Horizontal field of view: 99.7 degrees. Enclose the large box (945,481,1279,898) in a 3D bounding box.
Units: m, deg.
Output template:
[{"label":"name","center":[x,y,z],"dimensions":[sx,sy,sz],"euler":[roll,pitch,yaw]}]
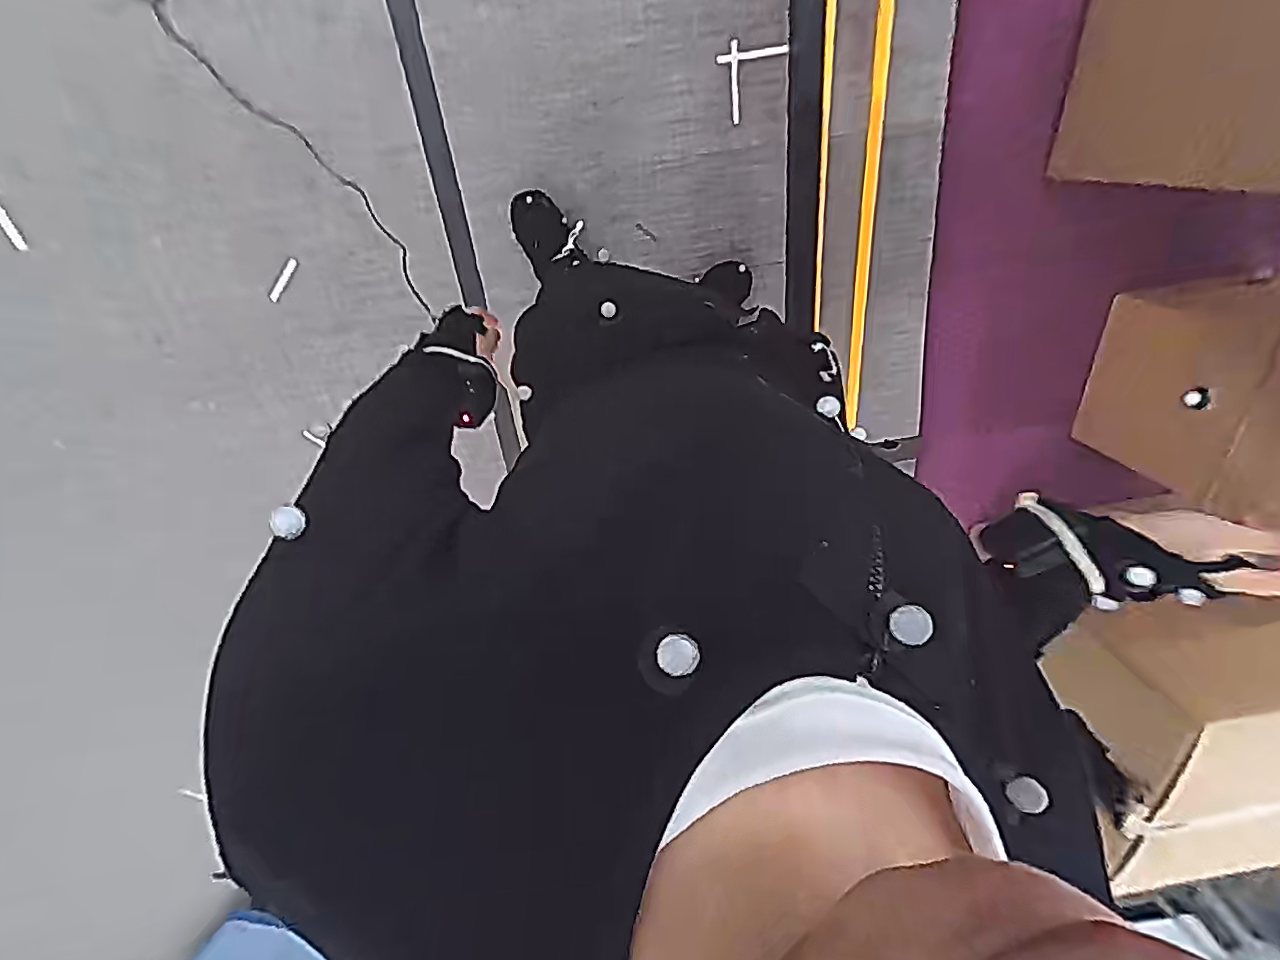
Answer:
[{"label":"large box","center":[0.670,0.232,0.669],"dimensions":[0.408,0.320,0.320],"euler":[-10,120,-3]}]
